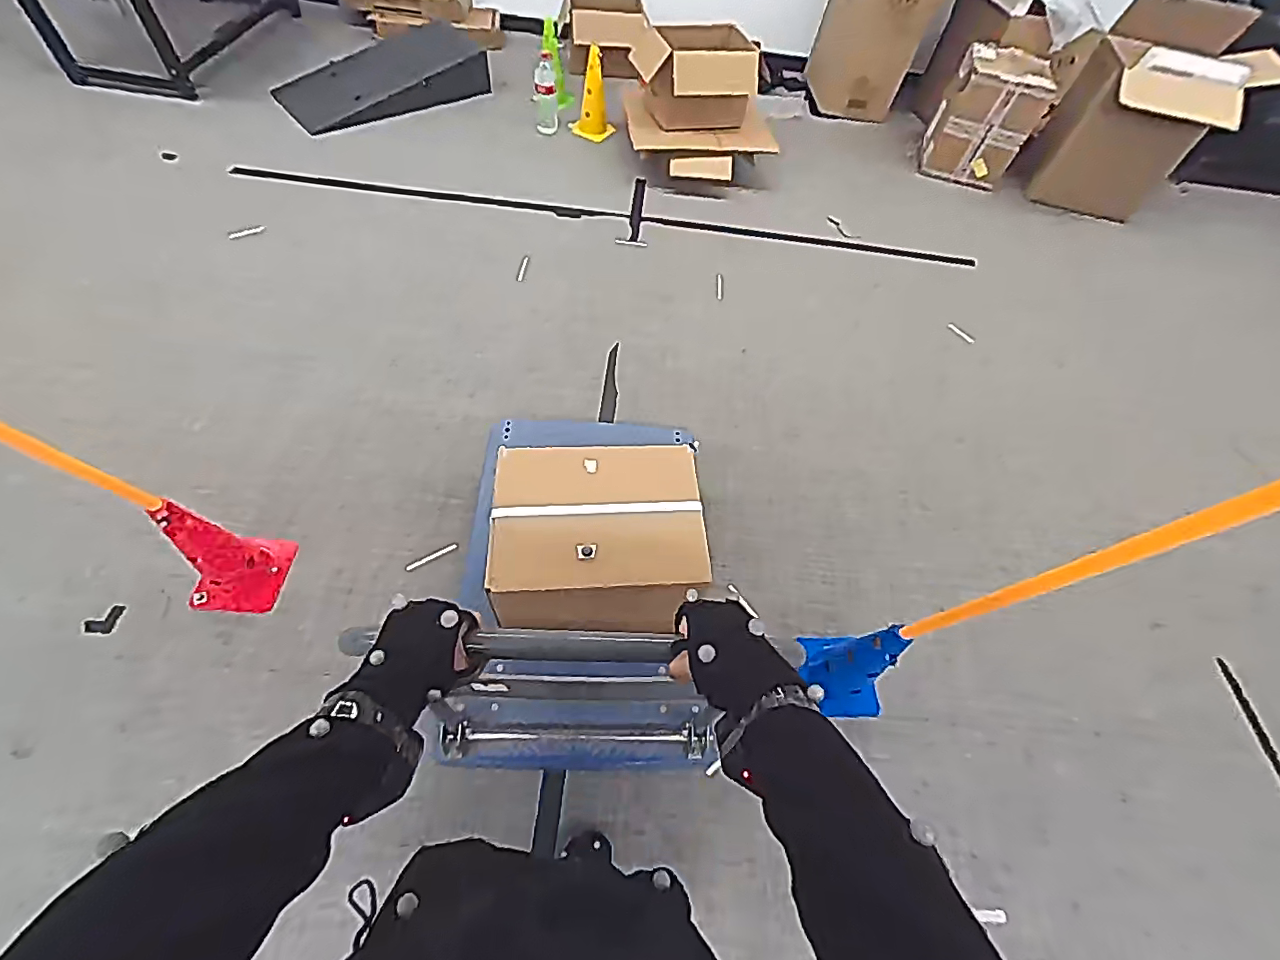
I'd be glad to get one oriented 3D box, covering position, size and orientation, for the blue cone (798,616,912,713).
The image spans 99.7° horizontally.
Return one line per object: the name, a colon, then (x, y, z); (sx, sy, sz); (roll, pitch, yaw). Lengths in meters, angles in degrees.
blue cone: (0.530, 0.411, 1.265); (0.193, 0.380, 0.192); (3, 56, -5)
